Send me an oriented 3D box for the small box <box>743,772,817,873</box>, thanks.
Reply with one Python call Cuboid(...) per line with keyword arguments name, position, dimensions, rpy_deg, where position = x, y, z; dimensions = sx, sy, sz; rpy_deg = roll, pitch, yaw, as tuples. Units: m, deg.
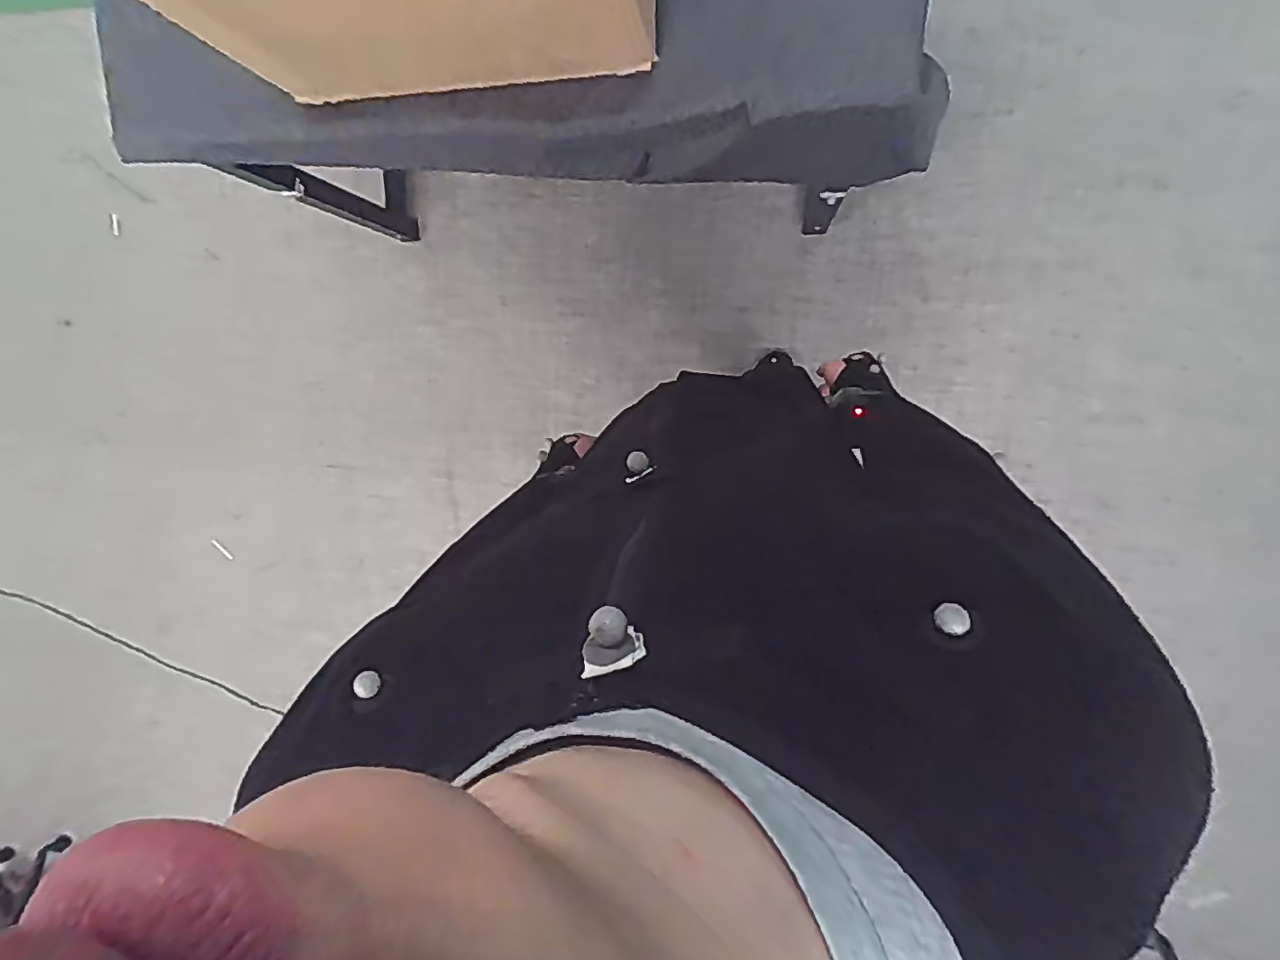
Cuboid(name="small box", position=(0.414, 1.013, 1.617), dimensions=(0.179, 0.176, 0.168), rpy_deg=(14, 102, 9))
